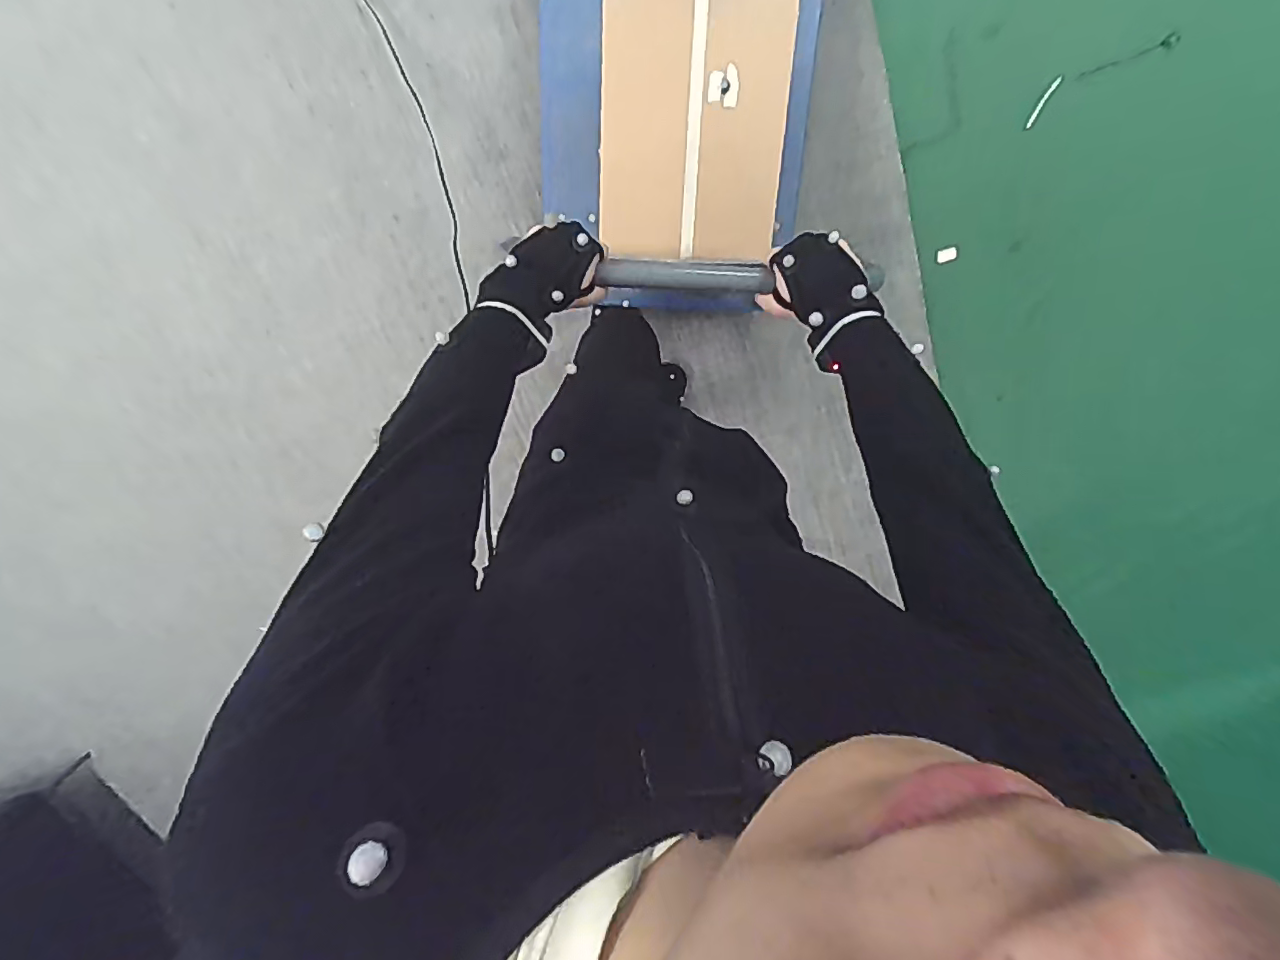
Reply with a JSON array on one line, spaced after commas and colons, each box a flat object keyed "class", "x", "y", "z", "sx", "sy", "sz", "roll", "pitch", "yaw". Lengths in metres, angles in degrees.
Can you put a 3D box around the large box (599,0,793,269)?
[{"class": "large box", "x": 0.090, "y": -0.635, "z": 1.058, "sx": 0.320, "sy": 0.320, "sz": 0.408, "roll": 2, "pitch": 109, "yaw": -1}]
